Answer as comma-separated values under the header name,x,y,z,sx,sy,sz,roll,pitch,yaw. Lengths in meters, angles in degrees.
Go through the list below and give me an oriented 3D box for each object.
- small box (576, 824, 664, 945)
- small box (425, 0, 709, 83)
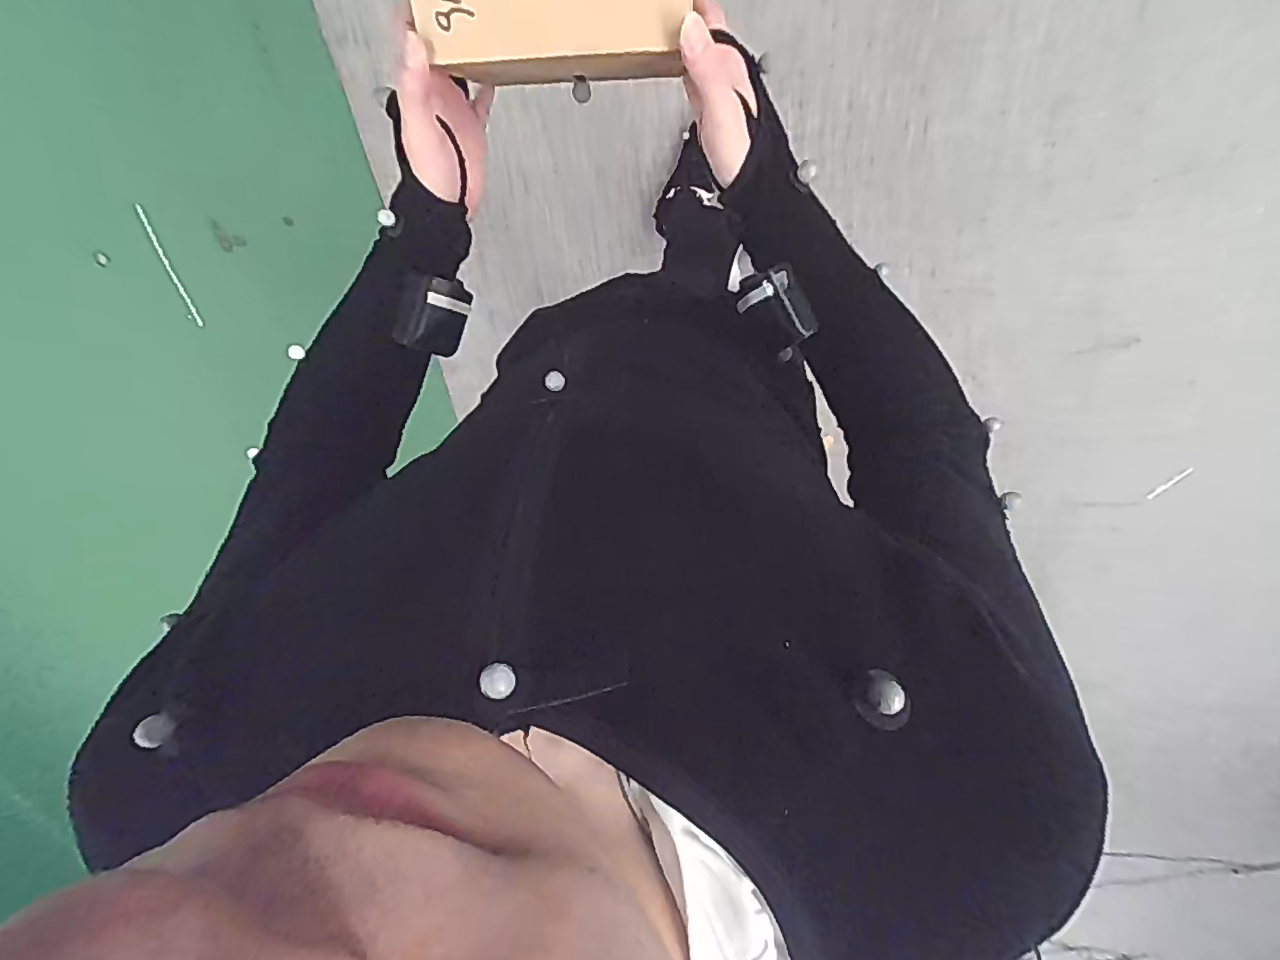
name,x,y,z,sx,sy,sz,roll,pitch,yaw
small box,-0.038,0.885,1.189,0.179,0.176,0.168,-1,121,3
small box,-0.046,-0.381,0.368,0.179,0.176,0.168,-1,121,2
